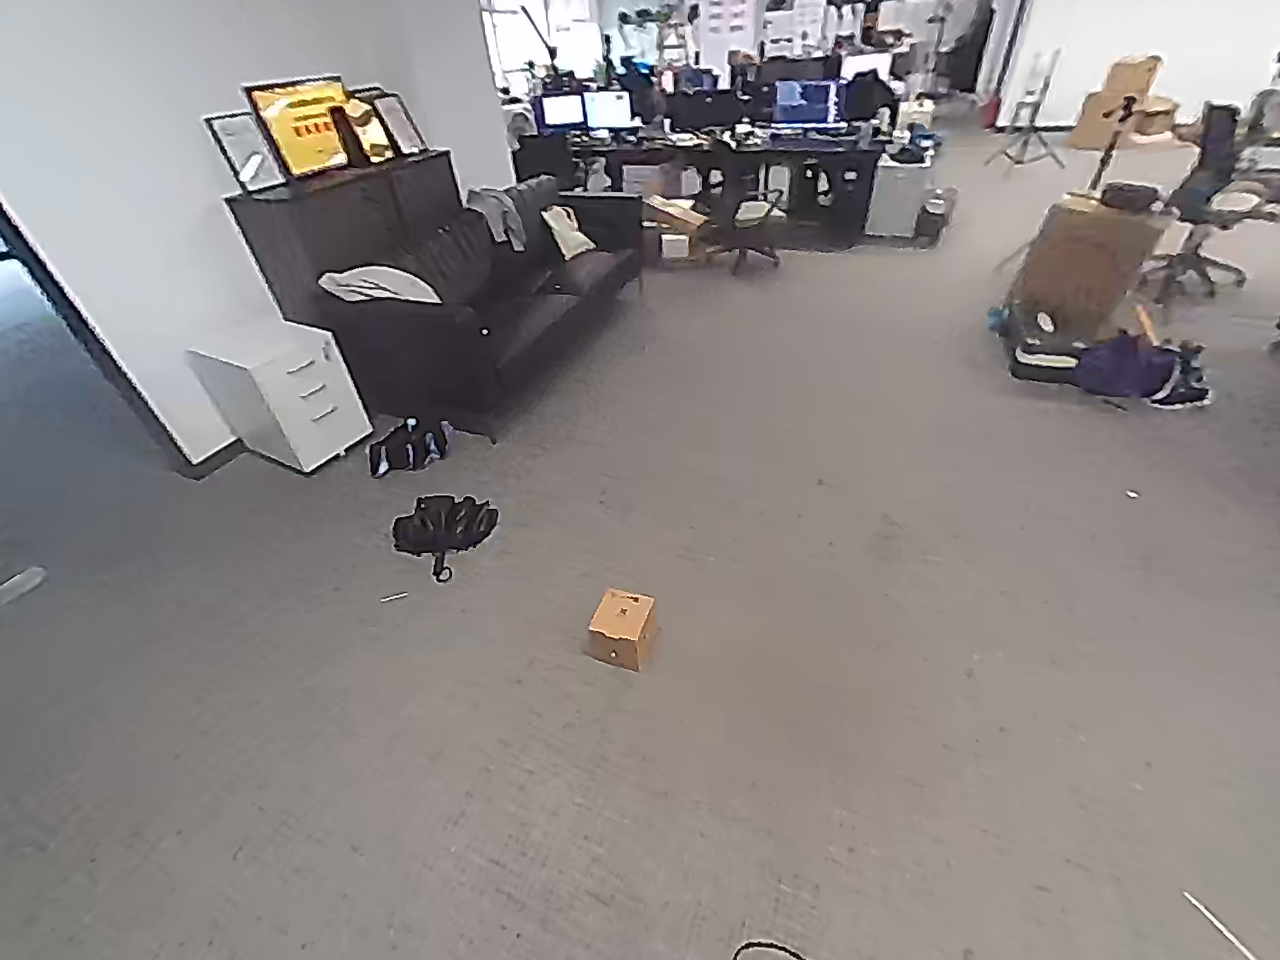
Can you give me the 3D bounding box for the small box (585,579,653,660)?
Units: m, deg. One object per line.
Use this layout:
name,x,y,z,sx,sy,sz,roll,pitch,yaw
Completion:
small box,-0.058,0.456,1.758,0.168,0.176,0.179,11,44,17
